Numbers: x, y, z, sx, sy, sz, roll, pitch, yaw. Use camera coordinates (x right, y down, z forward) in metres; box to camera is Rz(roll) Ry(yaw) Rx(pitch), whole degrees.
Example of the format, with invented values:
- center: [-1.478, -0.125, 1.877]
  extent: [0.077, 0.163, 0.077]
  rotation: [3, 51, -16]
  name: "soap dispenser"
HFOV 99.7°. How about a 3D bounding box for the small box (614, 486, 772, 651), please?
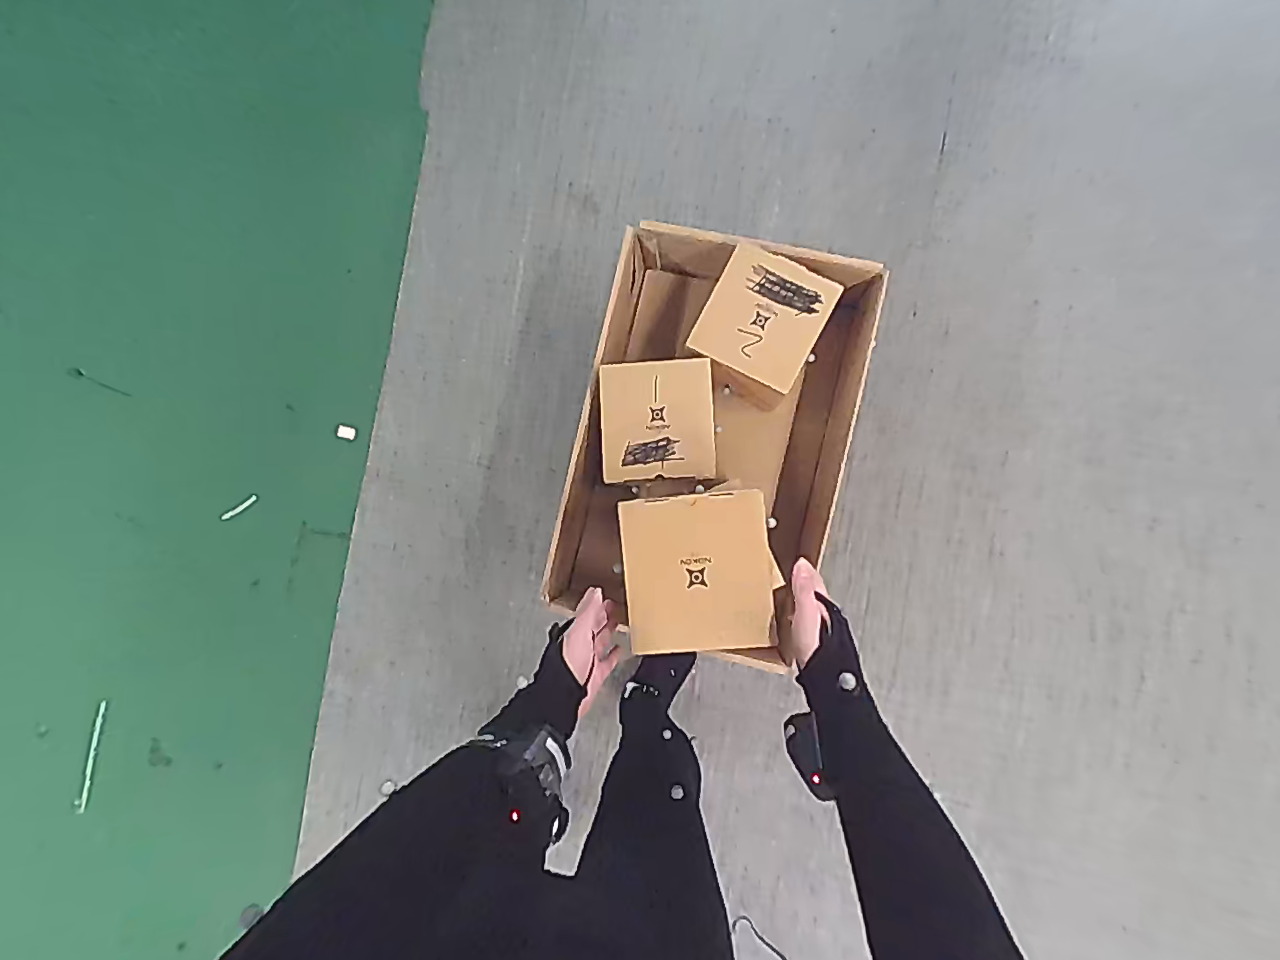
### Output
- center: [0.068, 0.100, 0.680]
  extent: [0.168, 0.176, 0.179]
  rotation: [-6, 88, 6]
  name: "small box"
